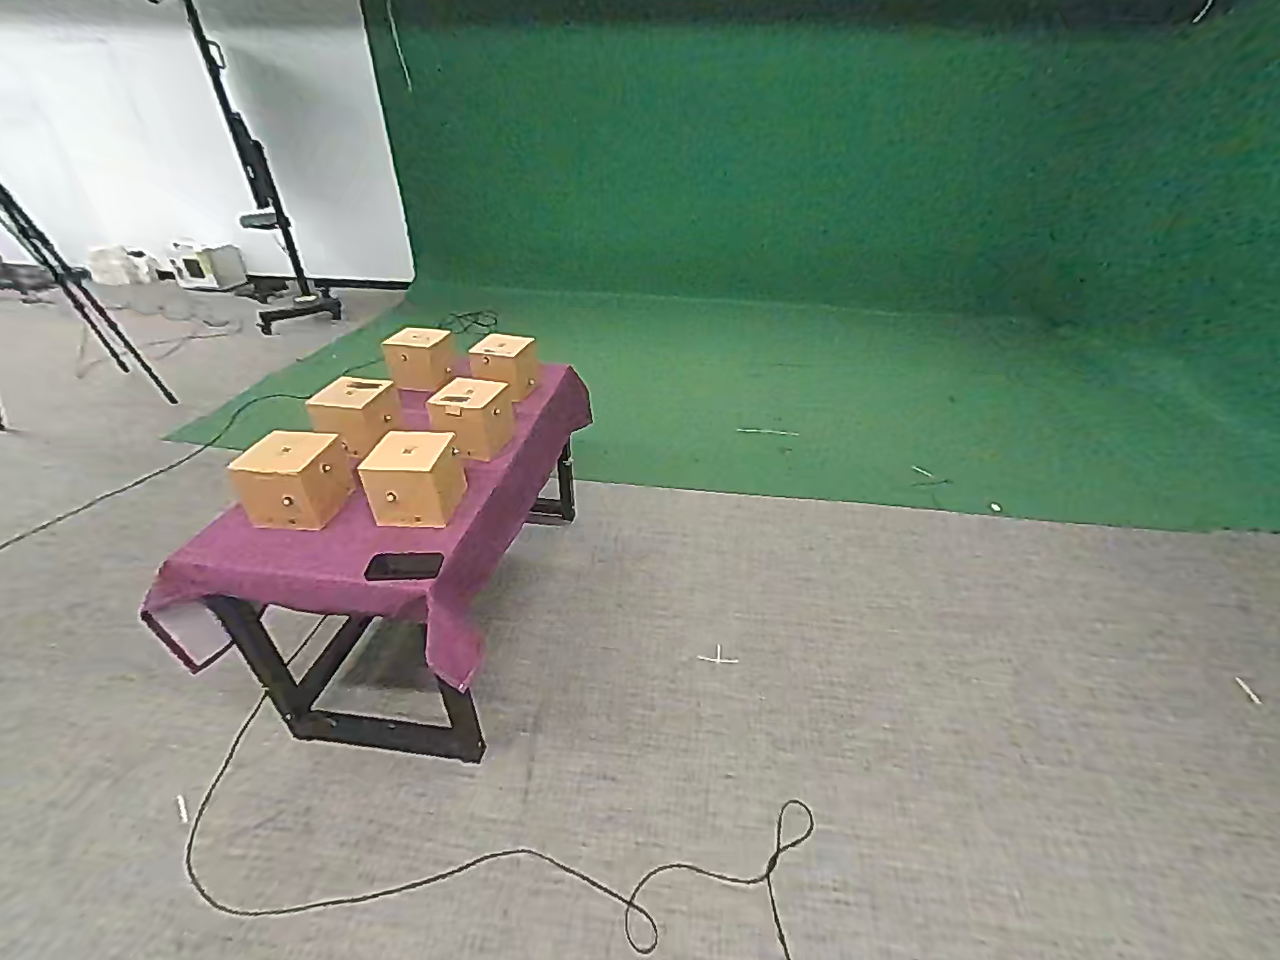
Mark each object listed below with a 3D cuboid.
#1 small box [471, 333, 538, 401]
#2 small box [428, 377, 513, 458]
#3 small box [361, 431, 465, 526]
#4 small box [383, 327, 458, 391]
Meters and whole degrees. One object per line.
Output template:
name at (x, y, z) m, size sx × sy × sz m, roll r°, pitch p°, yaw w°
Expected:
small box at (-0.460, -0.389, 1.864) m, size 0.168 × 0.176 × 0.179 m, roll 9°, pitch 35°, yaw 12°
small box at (-0.477, -0.179, 1.559) m, size 0.168 × 0.176 × 0.179 m, roll 9°, pitch 34°, yaw 11°
small box at (-0.535, -0.004, 1.305) m, size 0.168 × 0.176 × 0.179 m, roll 2°, pitch 33°, yaw 1°
small box at (-0.768, -0.428, 1.910) m, size 0.179 × 0.176 × 0.168 m, roll 8°, pitch 36°, yaw 8°
